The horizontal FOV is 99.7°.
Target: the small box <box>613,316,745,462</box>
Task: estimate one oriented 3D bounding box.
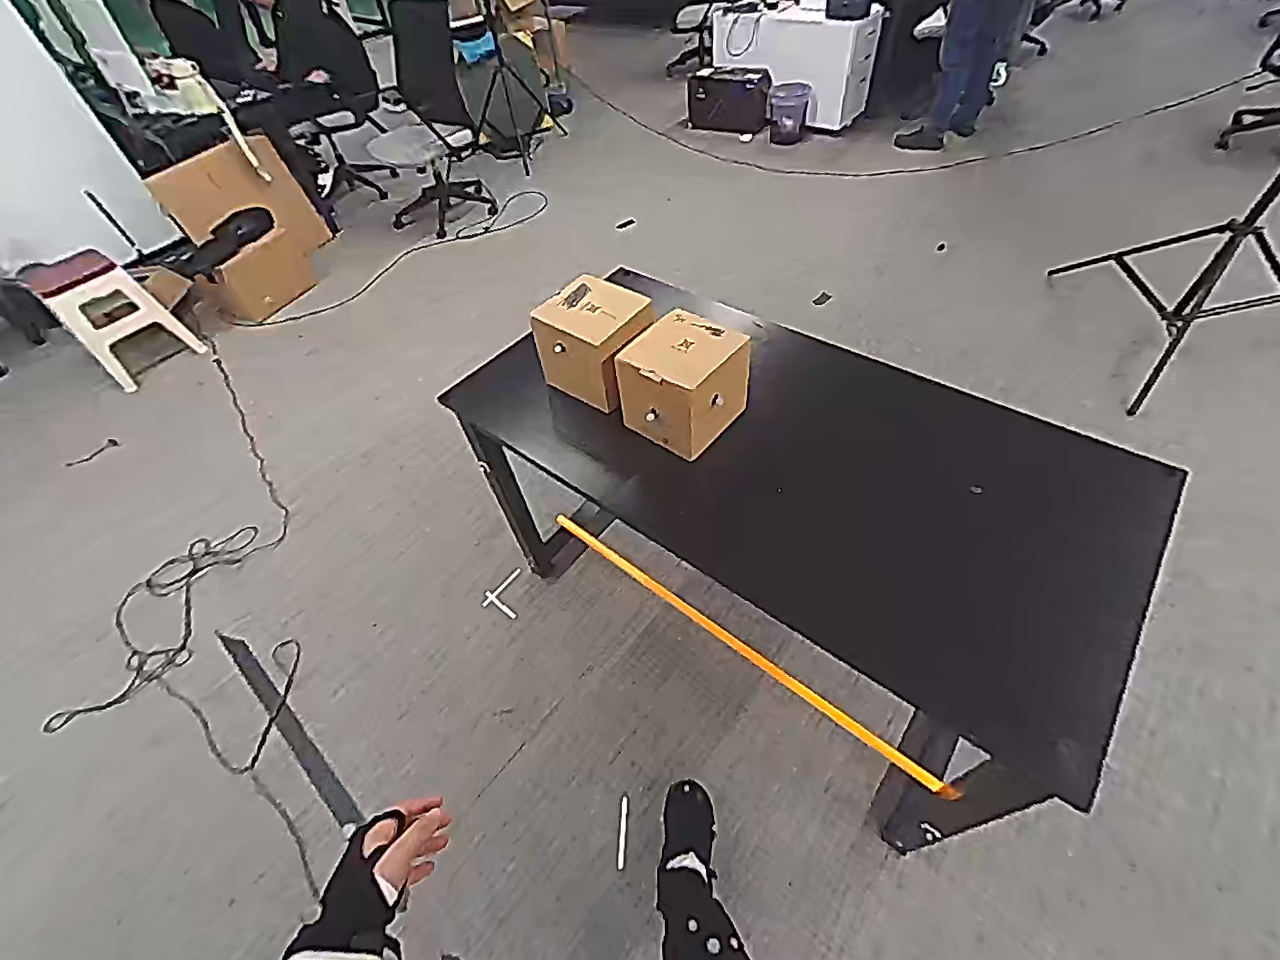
[{"bbox_3d":[0.077,-0.165,0.991,0.168,0.176,0.179,31,60,28],"label":"small box"}]

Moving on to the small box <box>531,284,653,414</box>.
[{"bbox_3d":[-0.088,-0.261,1.088,0.179,0.176,0.168,29,59,25],"label":"small box"}]
